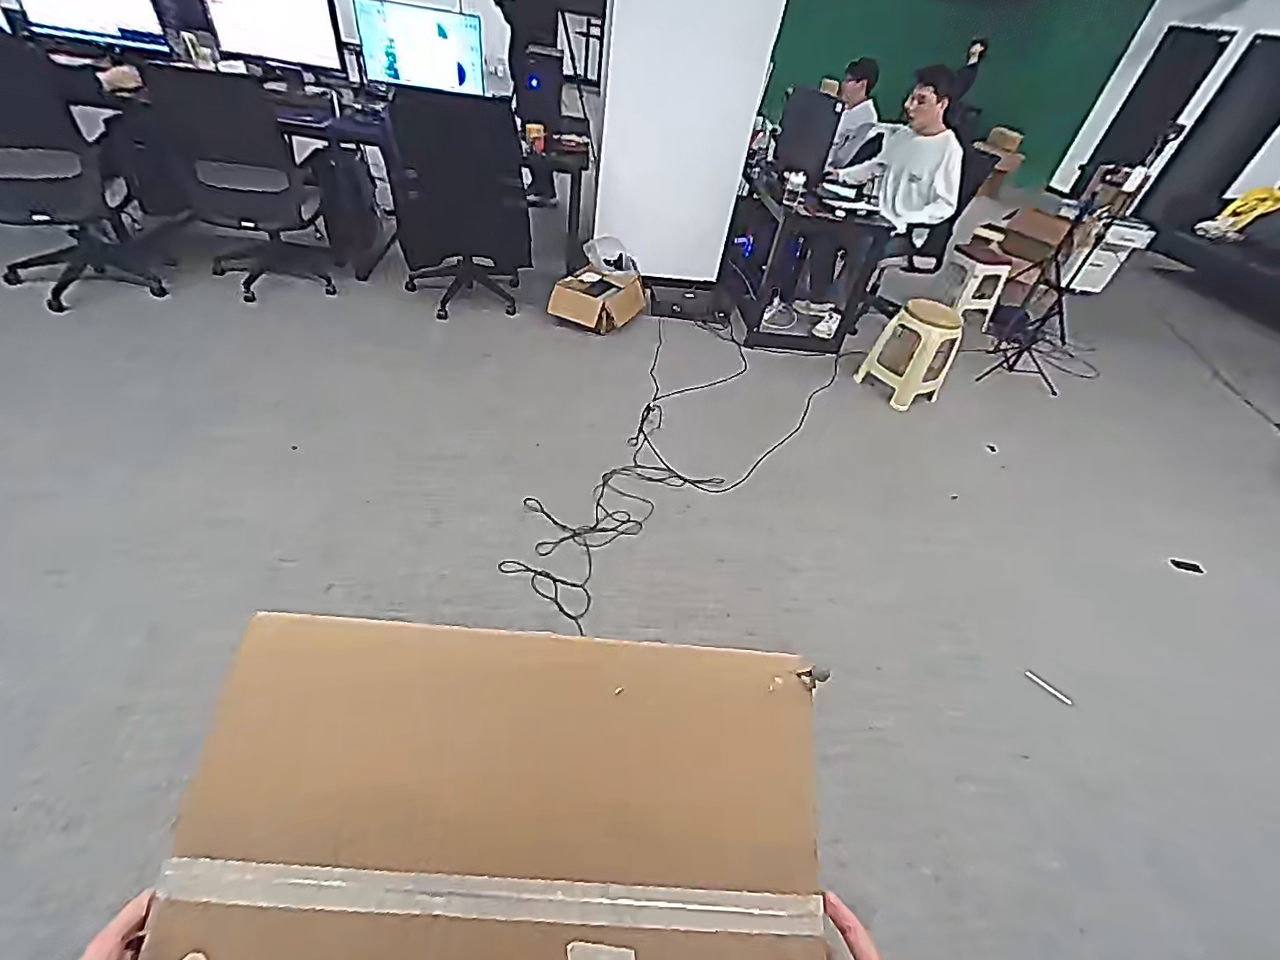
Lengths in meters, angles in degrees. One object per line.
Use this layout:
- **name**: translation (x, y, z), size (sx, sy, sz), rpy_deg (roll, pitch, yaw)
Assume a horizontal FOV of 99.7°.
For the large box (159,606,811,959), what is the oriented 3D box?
- **large box**: translation (-0.097, 0.306, 0.489), size (0.408, 0.320, 0.320), rpy_deg (5, 69, -2)
